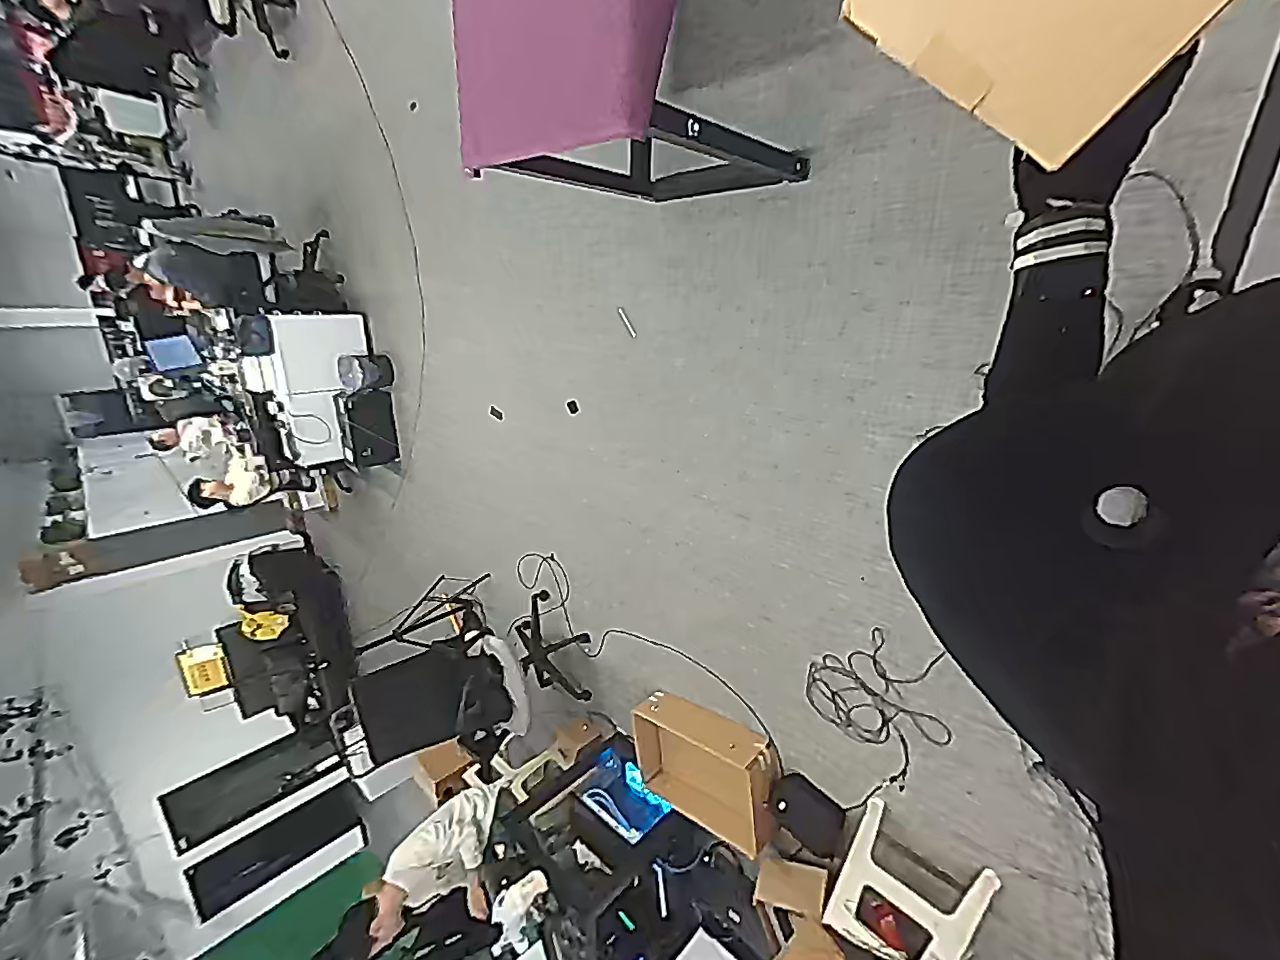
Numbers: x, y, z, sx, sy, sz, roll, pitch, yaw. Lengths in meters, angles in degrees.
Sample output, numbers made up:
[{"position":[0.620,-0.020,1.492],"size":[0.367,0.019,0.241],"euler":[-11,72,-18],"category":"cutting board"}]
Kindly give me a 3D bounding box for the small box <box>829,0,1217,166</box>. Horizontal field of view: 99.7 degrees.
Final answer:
[{"position":[0.243,-0.316,0.286],"size":[0.168,0.179,0.176],"euler":[41,151,7],"category":"small box"}]
